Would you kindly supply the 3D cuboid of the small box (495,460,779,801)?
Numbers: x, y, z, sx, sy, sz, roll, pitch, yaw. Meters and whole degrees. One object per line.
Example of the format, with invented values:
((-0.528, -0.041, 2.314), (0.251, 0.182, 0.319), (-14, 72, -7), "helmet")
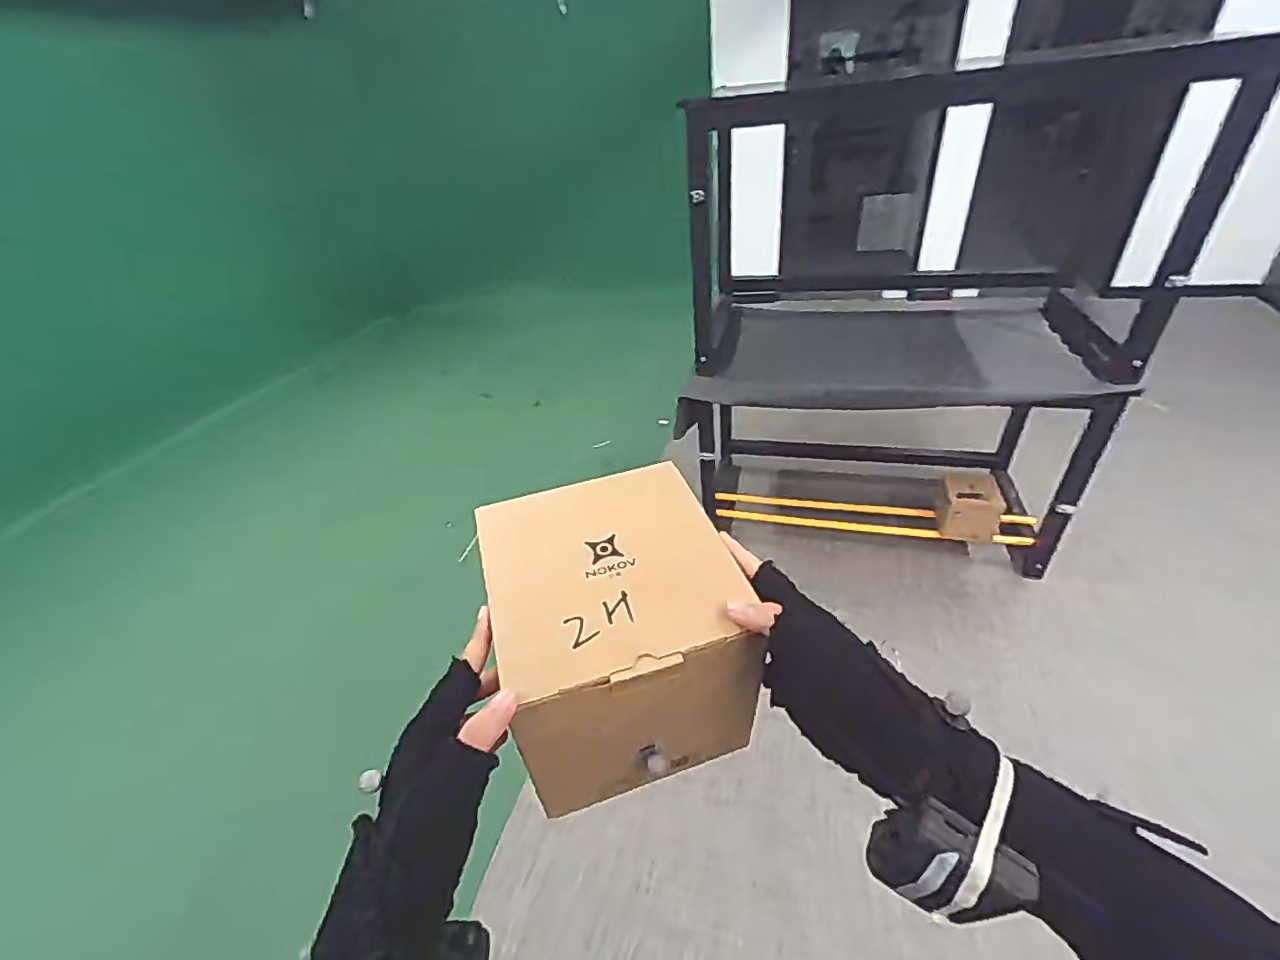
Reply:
((-0.011, 0.113, 0.432), (0.168, 0.176, 0.179), (-14, 41, -11), "small box")
